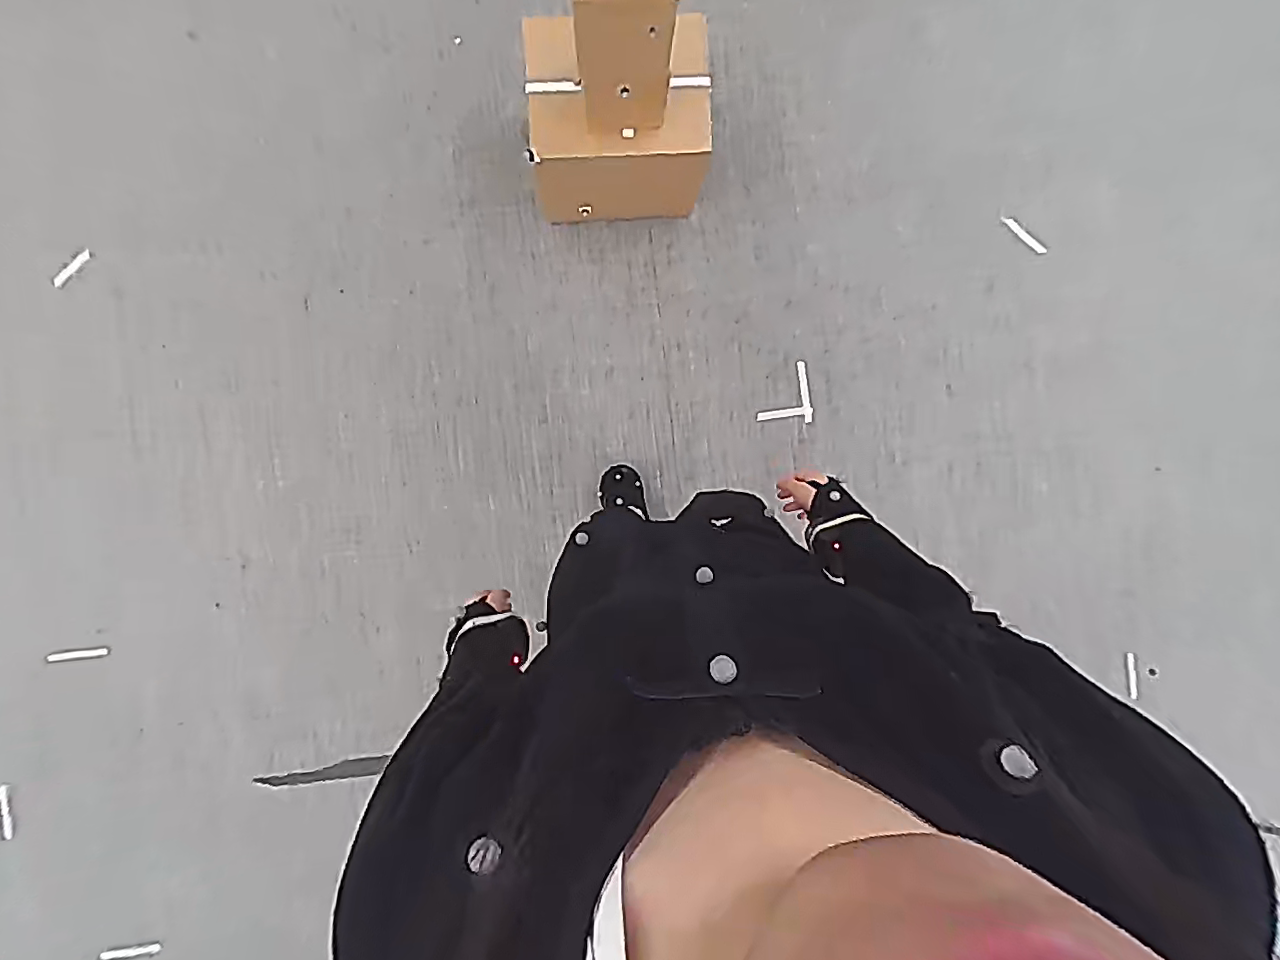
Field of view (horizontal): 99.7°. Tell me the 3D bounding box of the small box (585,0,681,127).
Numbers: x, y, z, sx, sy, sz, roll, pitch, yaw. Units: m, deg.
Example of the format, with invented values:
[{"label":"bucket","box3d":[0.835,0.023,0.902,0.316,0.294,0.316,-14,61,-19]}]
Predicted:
[{"label":"small box","box3d":[-0.017,-0.859,1.113,0.179,0.176,0.168,-5,92,-4]}]
